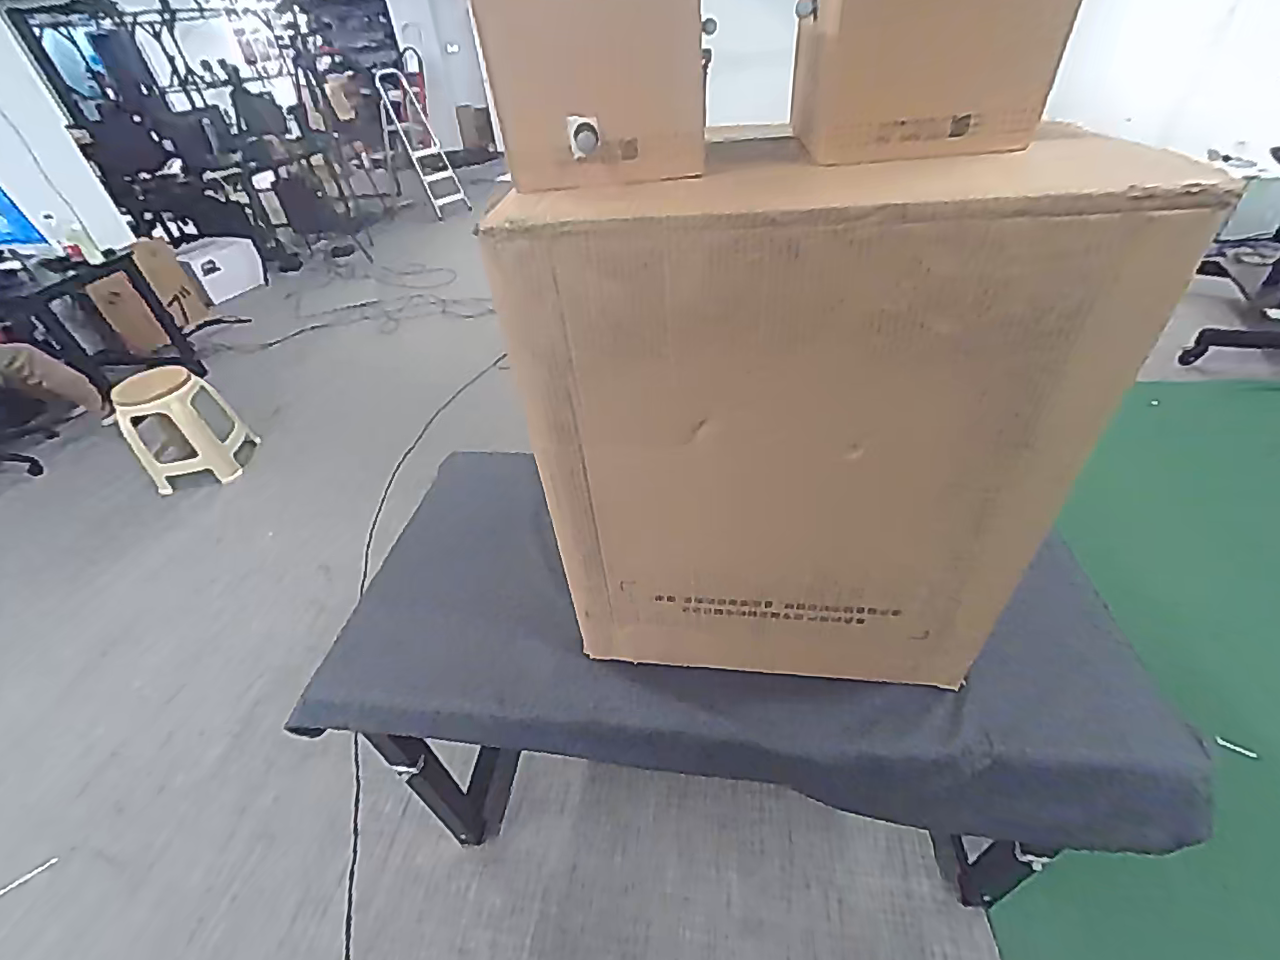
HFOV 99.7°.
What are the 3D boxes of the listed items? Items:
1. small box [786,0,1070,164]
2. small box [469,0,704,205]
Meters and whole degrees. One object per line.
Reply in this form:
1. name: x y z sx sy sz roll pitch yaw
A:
1. small box: 0.220 -0.374 0.445 0.168 0.176 0.179 -2 42 6
2. small box: -0.033 -0.358 0.469 0.168 0.176 0.179 -4 43 8
